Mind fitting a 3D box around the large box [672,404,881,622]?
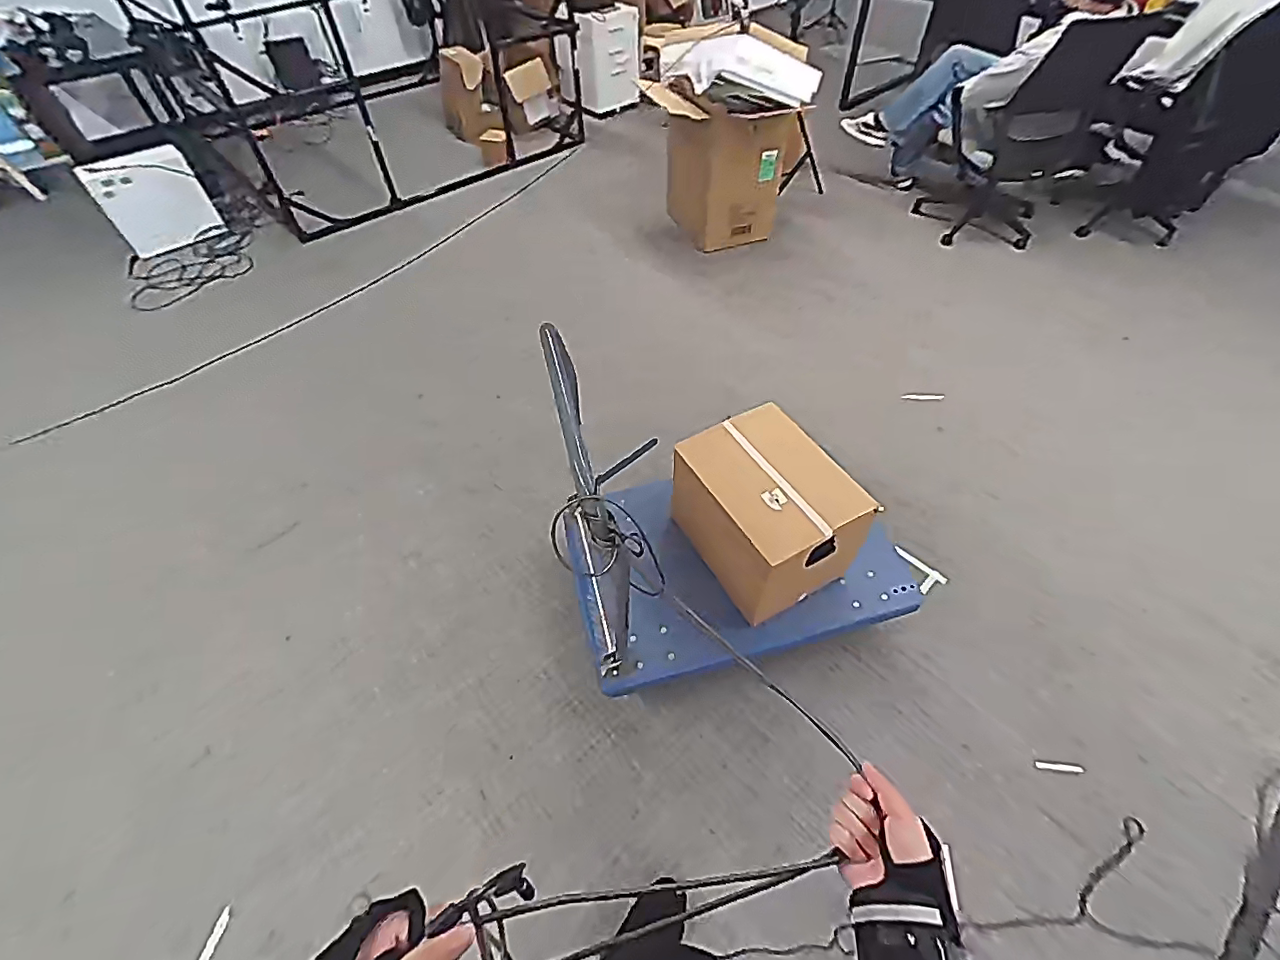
[{"bbox_3d":[0.316,0.080,1.395,0.320,0.320,0.408,-25,56,-16],"label":"large box"}]
